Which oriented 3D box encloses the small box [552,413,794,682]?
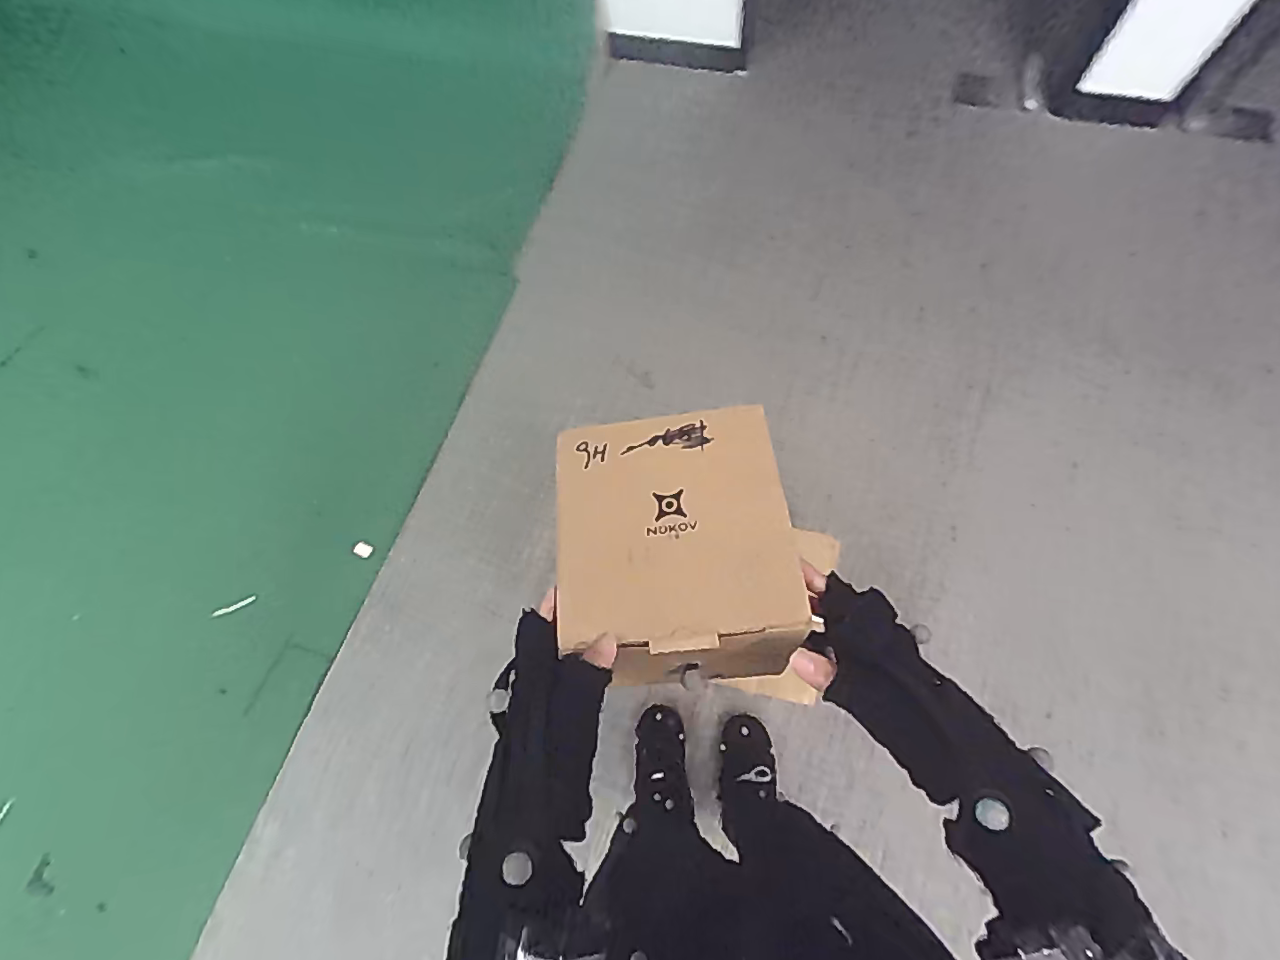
[{"bbox_3d":[0.027,0.070,0.463,0.168,0.176,0.179,-8,61,4],"label":"small box"}]
